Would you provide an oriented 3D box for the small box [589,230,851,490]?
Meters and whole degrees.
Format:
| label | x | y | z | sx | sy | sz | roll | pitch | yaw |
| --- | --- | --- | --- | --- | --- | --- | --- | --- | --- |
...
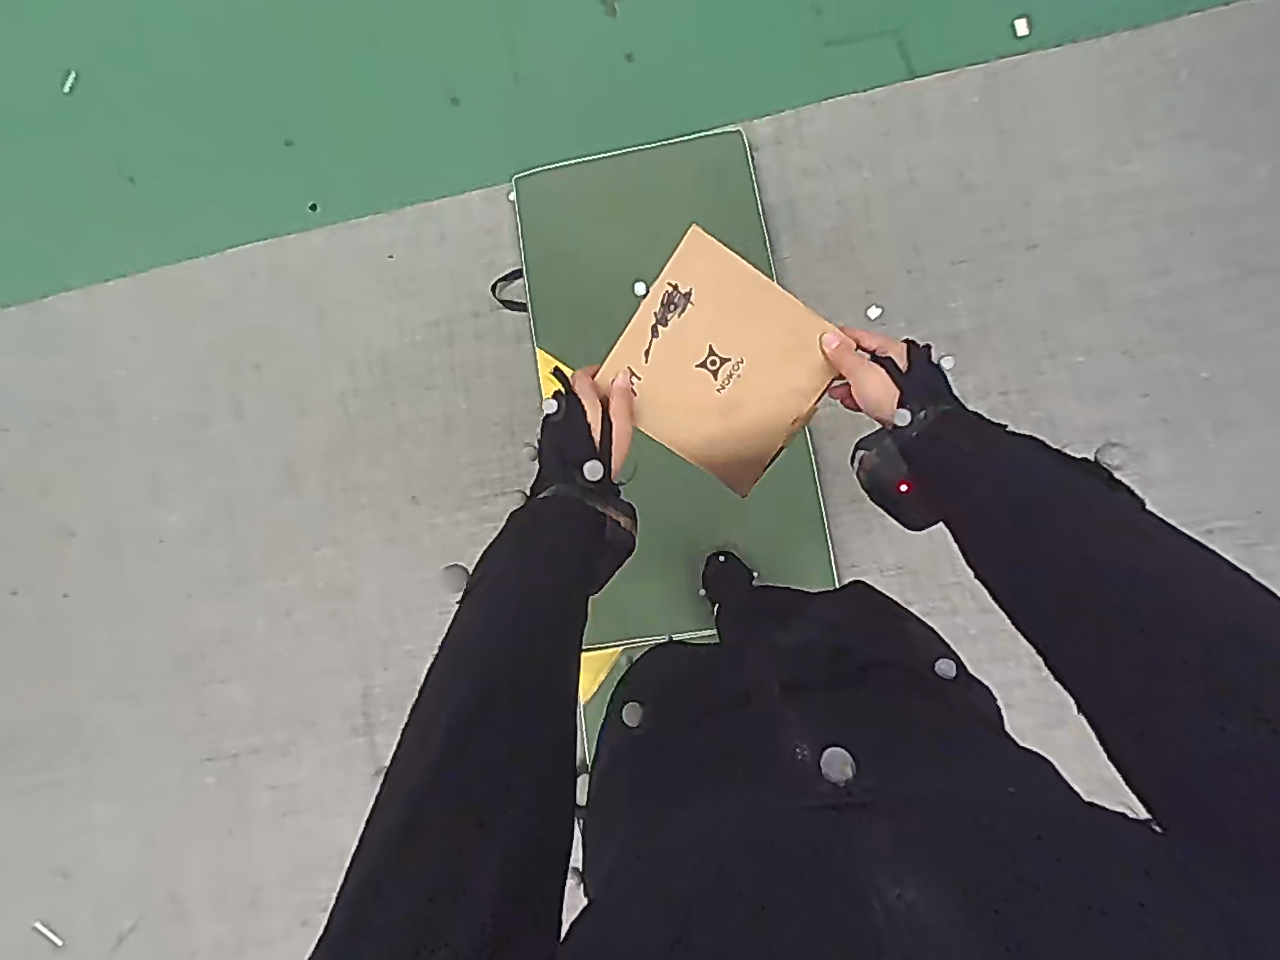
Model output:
| label | x | y | z | sx | sy | sz | roll | pitch | yaw |
| --- | --- | --- | --- | --- | --- | --- | --- | --- | --- |
| small box | 0.071 | -0.120 | 0.553 | 0.179 | 0.176 | 0.168 | 33 | 102 | -7 |
